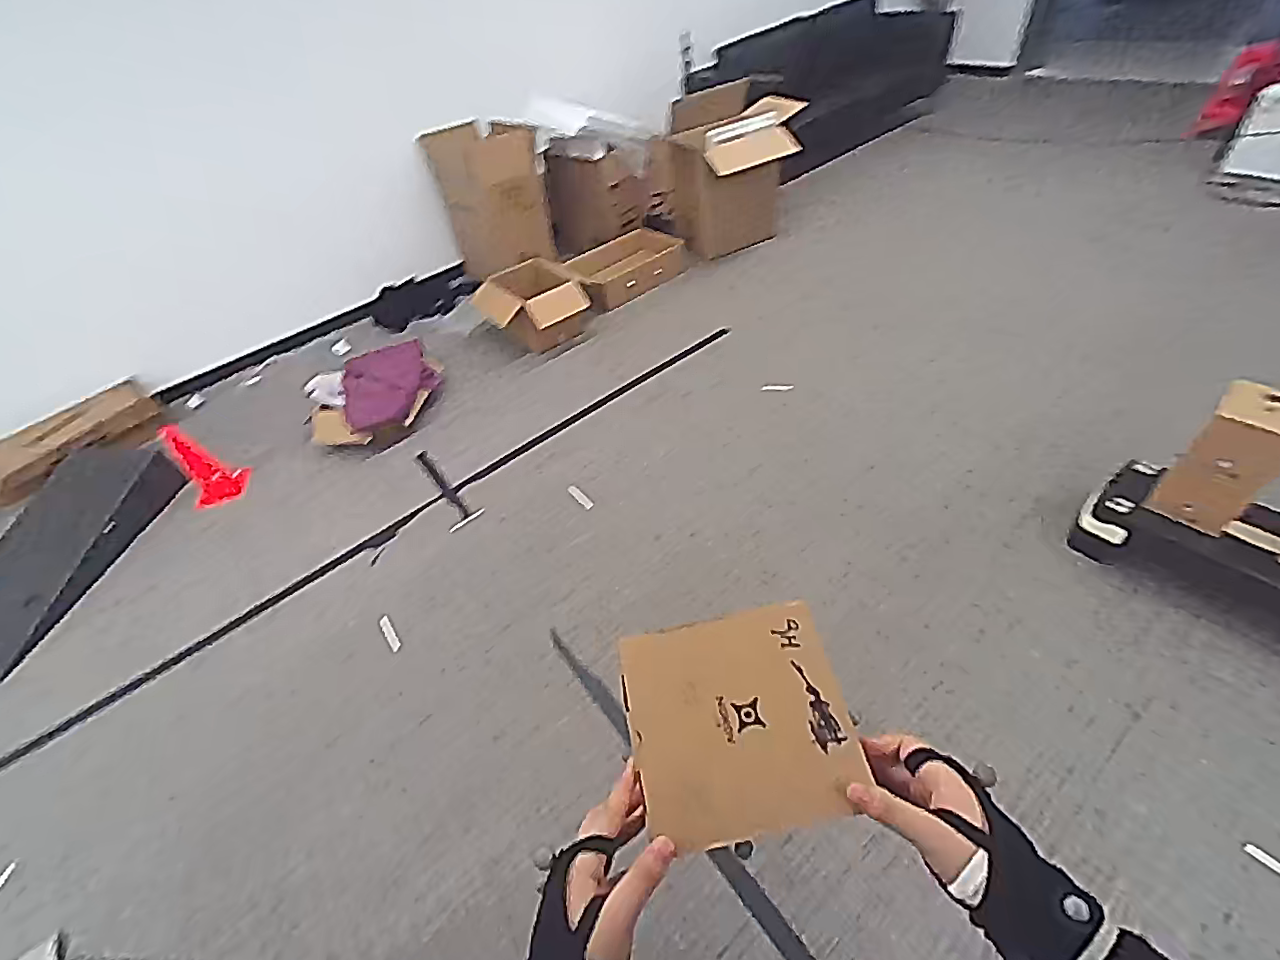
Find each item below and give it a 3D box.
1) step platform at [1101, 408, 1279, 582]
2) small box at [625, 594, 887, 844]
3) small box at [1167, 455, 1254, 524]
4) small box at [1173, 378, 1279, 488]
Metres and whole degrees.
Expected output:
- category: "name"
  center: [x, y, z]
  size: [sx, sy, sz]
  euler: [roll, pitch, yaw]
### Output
- category: "step platform"
  center: [1.563, 0.082, 1.303]
  size: [0.286, 0.204, 0.684]
  euler: [-35, 51, -23]
- category: "small box"
  center: [0.092, 0.228, 0.502]
  size: [0.179, 0.176, 0.168]
  euler: [-11, 56, -1]
- category: "small box"
  center: [1.497, 0.002, 1.444]
  size: [0.179, 0.176, 0.168]
  euler: [-36, 50, -23]
- category: "small box"
  center: [1.478, -0.116, 1.330]
  size: [0.179, 0.176, 0.168]
  euler: [-37, 51, -23]
